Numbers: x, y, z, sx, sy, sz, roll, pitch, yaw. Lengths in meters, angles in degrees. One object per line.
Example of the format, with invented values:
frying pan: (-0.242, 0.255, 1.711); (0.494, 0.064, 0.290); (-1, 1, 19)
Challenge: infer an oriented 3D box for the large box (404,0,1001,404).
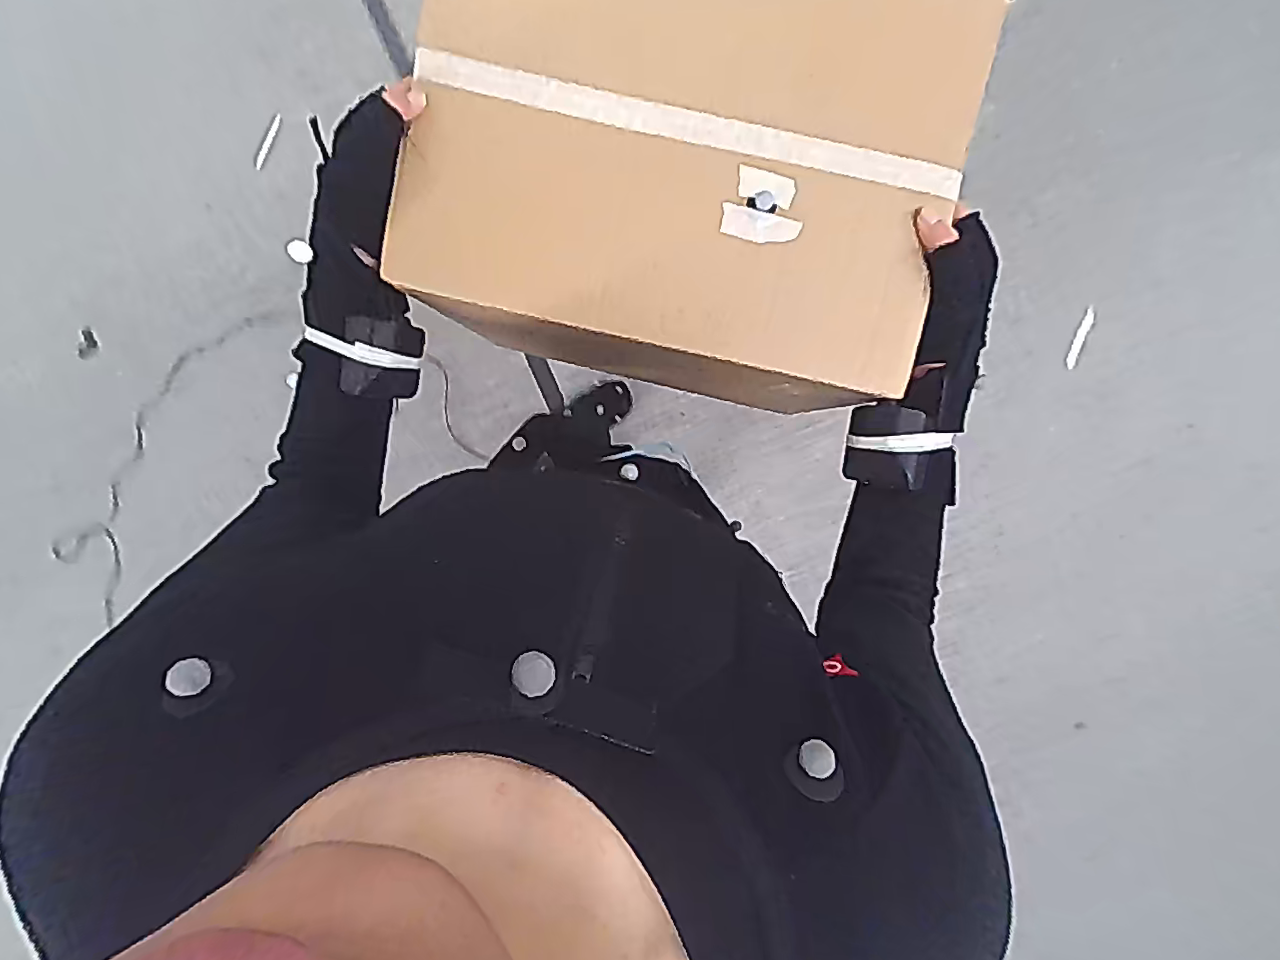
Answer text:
large box: (0.041, -0.278, 0.554); (0.408, 0.320, 0.320); (14, 96, -1)
